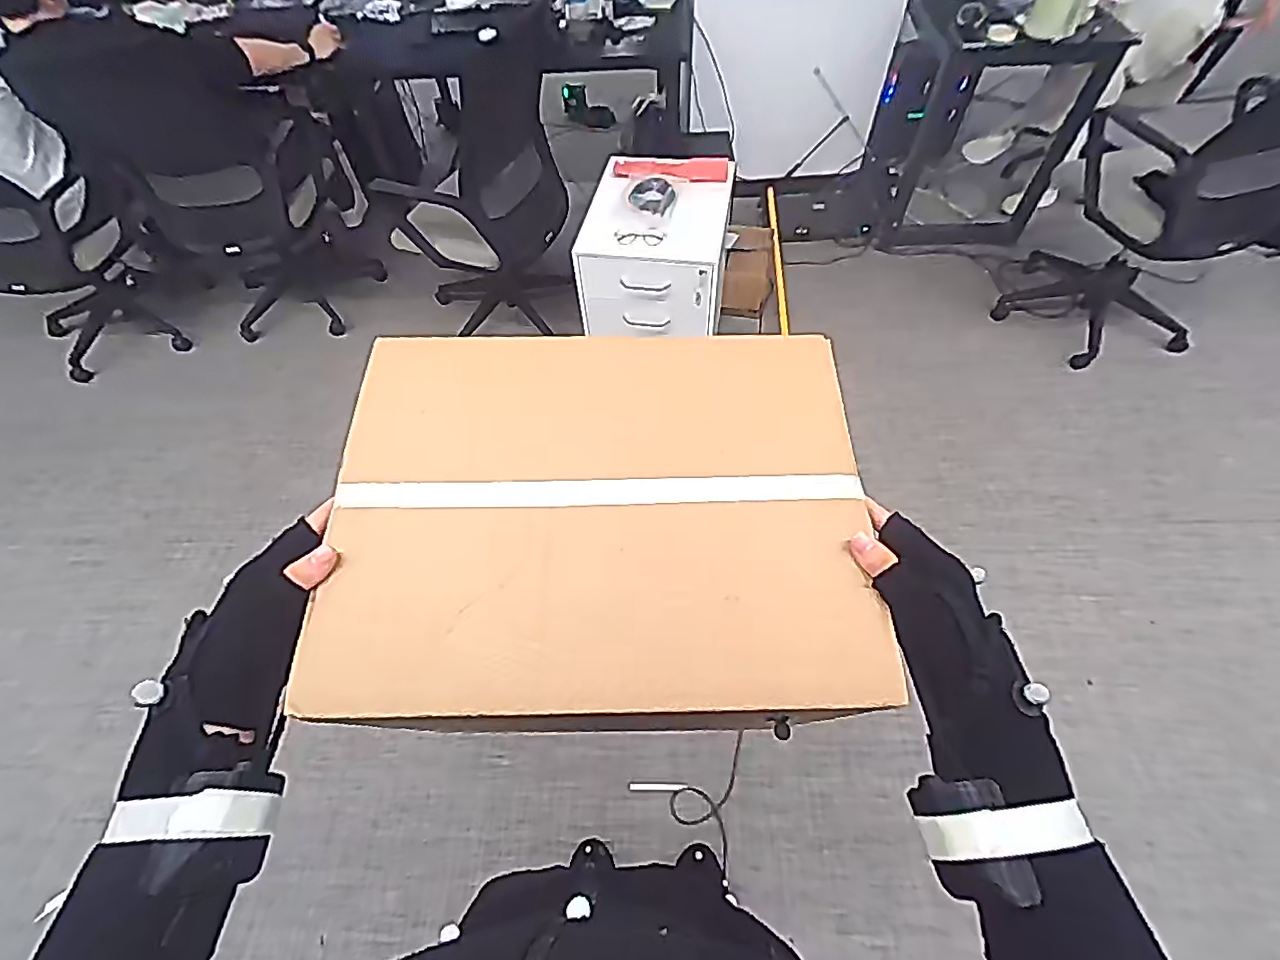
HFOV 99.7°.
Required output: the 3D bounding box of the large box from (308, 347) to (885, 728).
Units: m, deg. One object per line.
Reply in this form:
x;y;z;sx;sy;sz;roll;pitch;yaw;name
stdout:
-0.031;0.084;0.565;0.408;0.320;0.320;-1;63;-1;large box
